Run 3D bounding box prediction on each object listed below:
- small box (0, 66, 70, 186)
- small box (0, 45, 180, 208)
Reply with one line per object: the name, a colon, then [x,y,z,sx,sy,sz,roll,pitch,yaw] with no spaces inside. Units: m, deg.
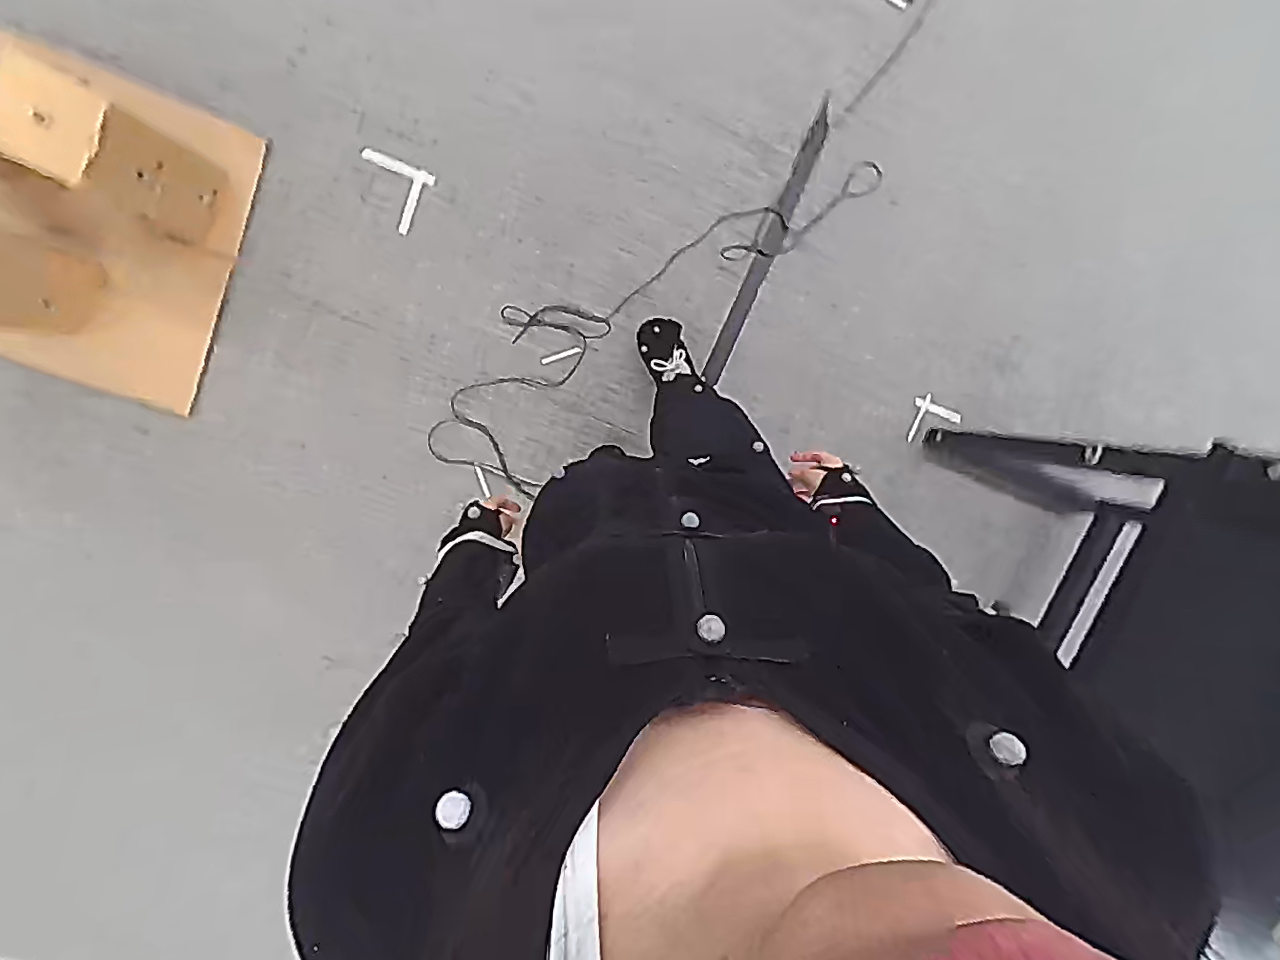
small box: [-1.351,-0.762,1.138,0.168,0.176,0.179,17,98,-8]
small box: [-1.039,-0.648,1.020,0.179,0.176,0.168,25,96,-11]
